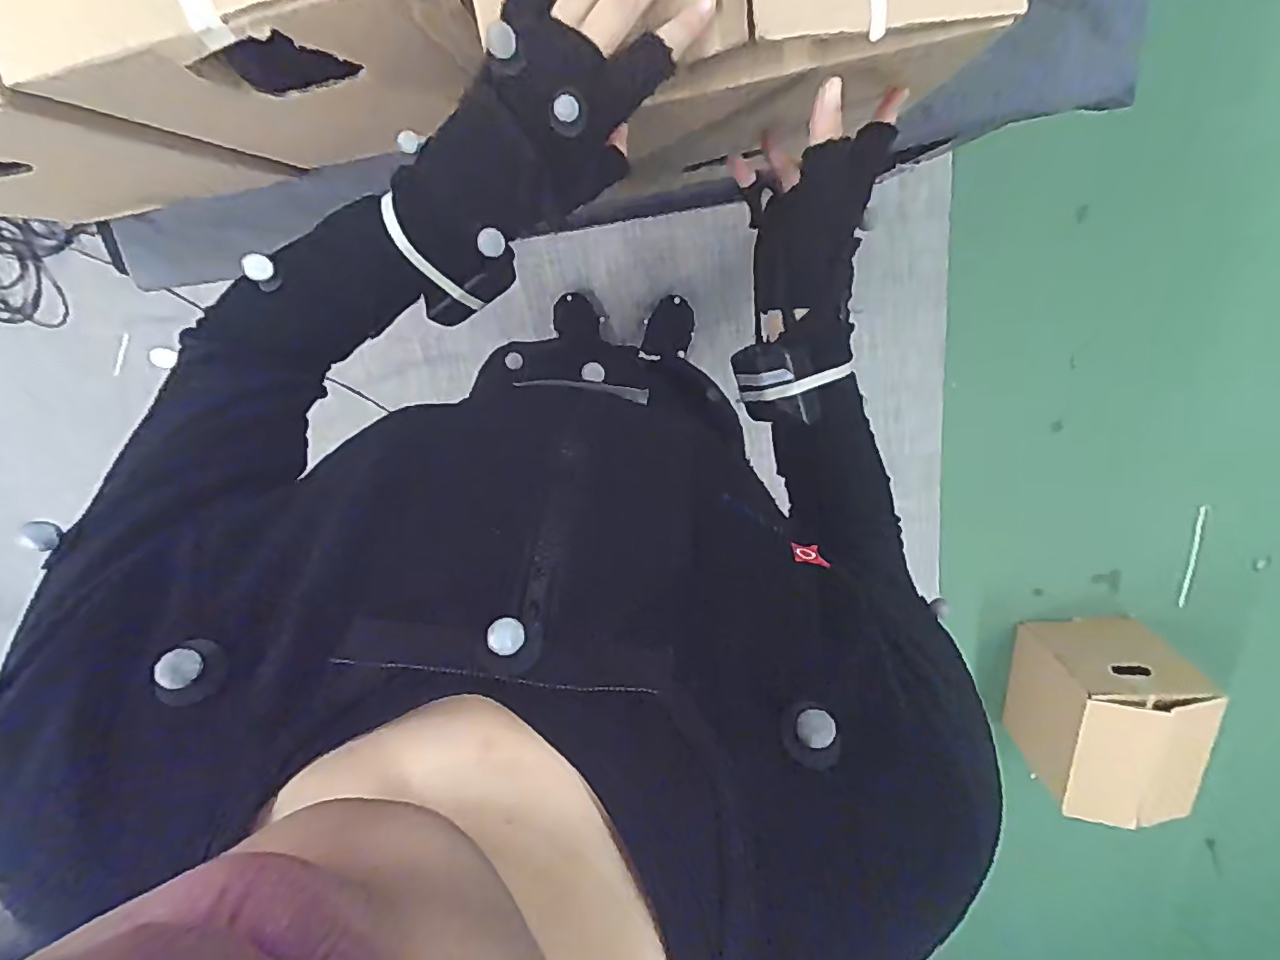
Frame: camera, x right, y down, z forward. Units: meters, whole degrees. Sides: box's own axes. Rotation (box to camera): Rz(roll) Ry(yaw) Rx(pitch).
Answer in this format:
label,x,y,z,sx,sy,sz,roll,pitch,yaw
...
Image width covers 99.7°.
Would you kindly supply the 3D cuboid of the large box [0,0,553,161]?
label,x,y,z,sx,sy,sz,roll,pitch,yaw
large box,-0.286,-0.523,0.412,0.320,0.320,0.408,-8,111,8
